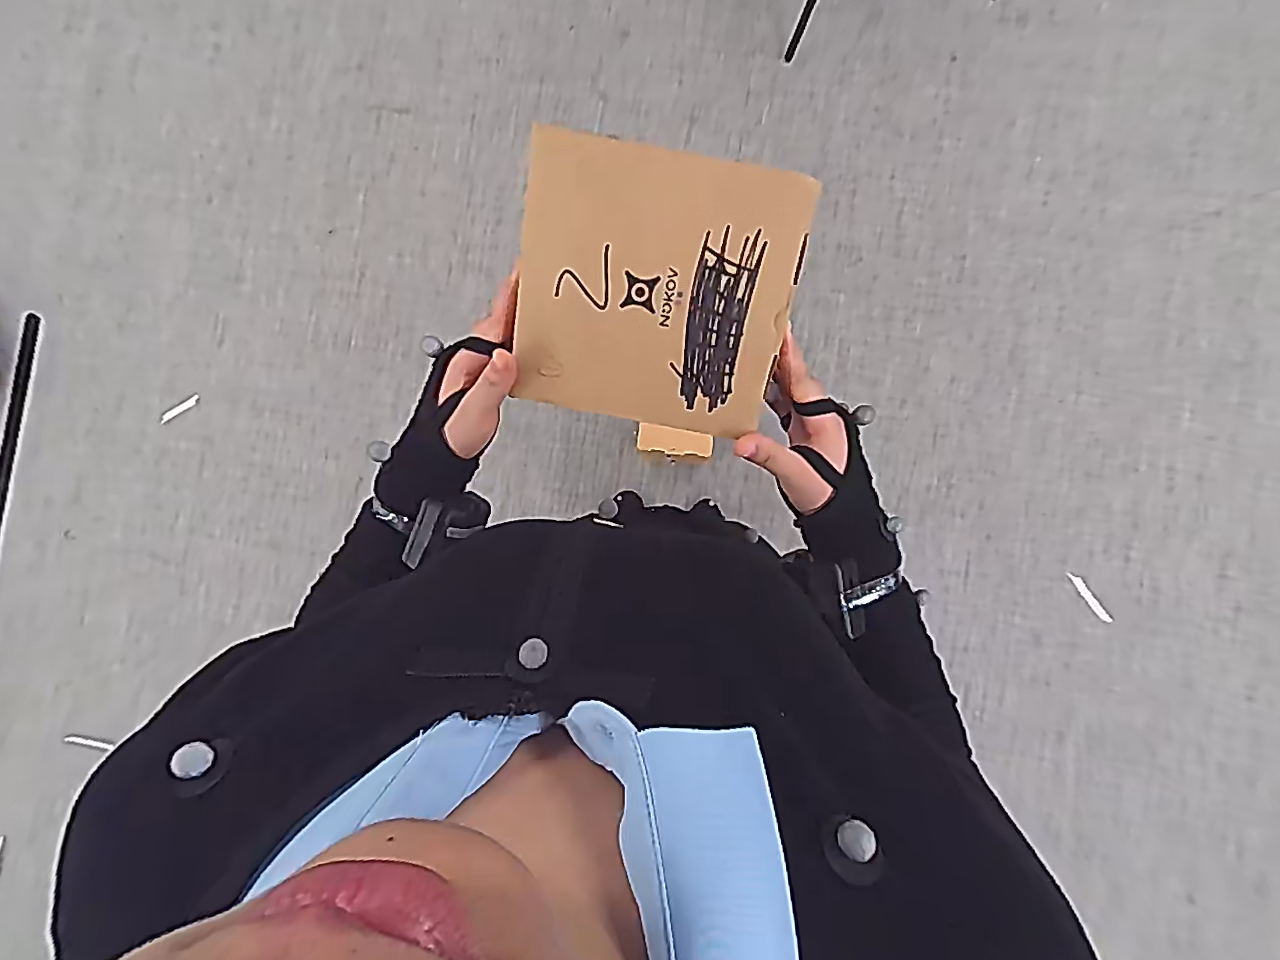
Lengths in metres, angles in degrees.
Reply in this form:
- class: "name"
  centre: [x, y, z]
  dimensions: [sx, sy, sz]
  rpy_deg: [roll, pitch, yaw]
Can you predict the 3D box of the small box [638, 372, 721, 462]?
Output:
- class: "small box"
  centre: [0.090, -0.141, 1.254]
  dimensions: [0.168, 0.176, 0.179]
  rpy_deg: [6, 90, 4]
